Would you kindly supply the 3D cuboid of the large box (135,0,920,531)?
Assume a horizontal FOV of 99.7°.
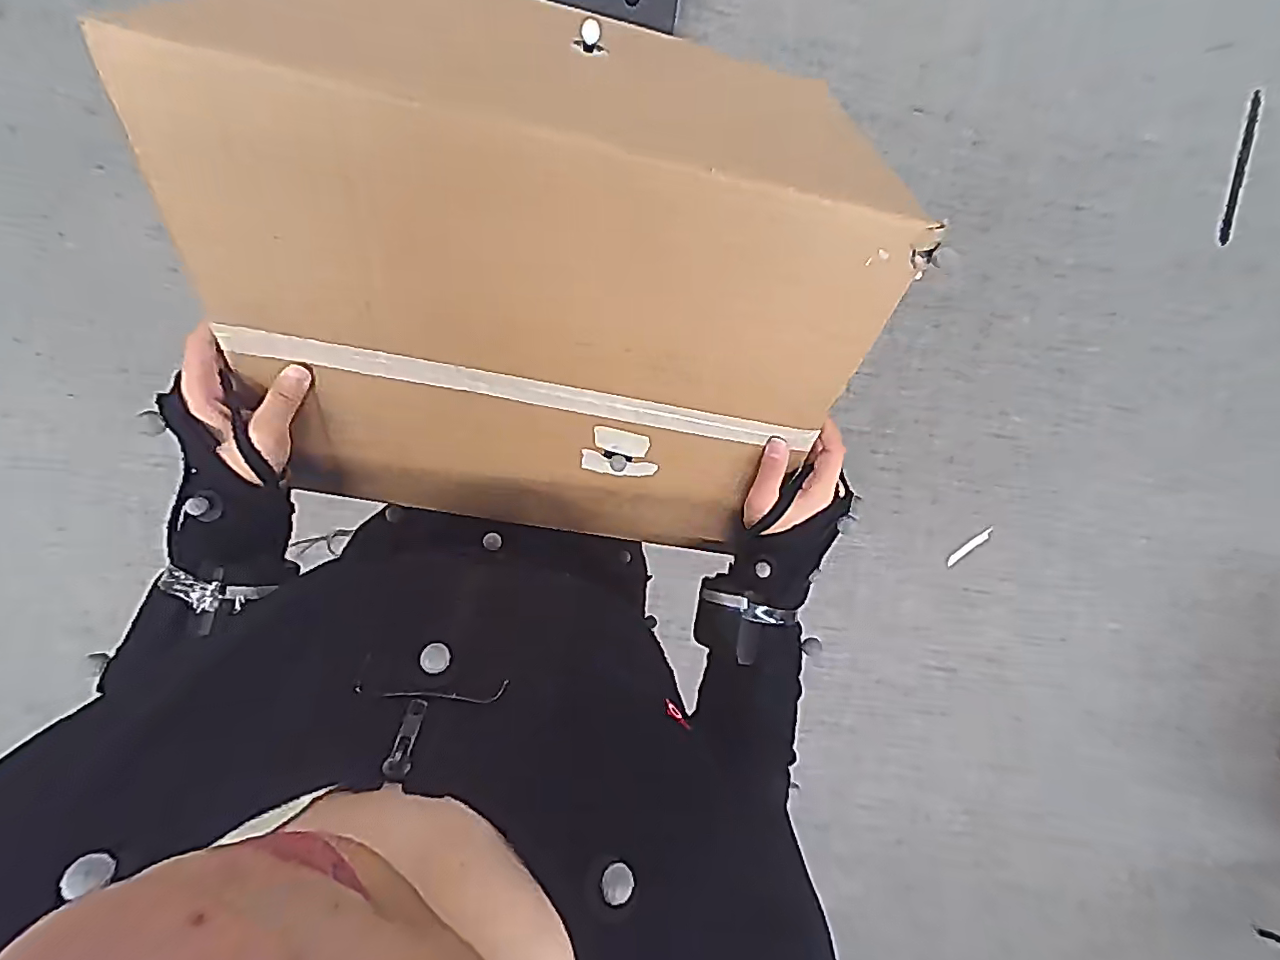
[{"bbox_3d":[-0.066,-0.186,0.479,0.408,0.320,0.320,8,139,-8],"label":"large box"}]
